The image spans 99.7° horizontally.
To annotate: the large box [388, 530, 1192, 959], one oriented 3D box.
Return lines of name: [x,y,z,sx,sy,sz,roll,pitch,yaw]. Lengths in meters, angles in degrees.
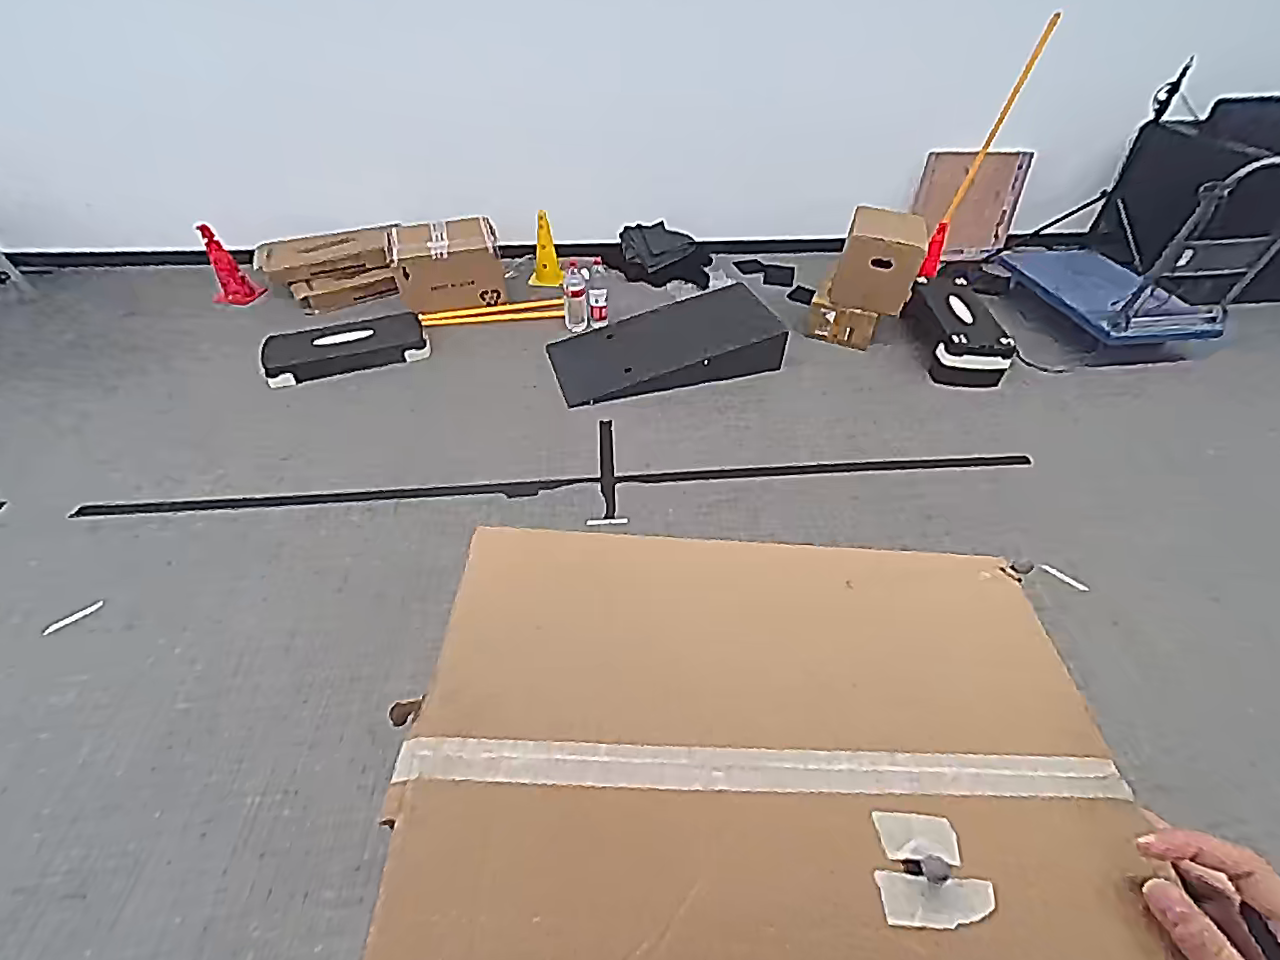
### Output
large box: [0.065,0.261,0.429,0.408,0.320,0.320,4,49,-4]
